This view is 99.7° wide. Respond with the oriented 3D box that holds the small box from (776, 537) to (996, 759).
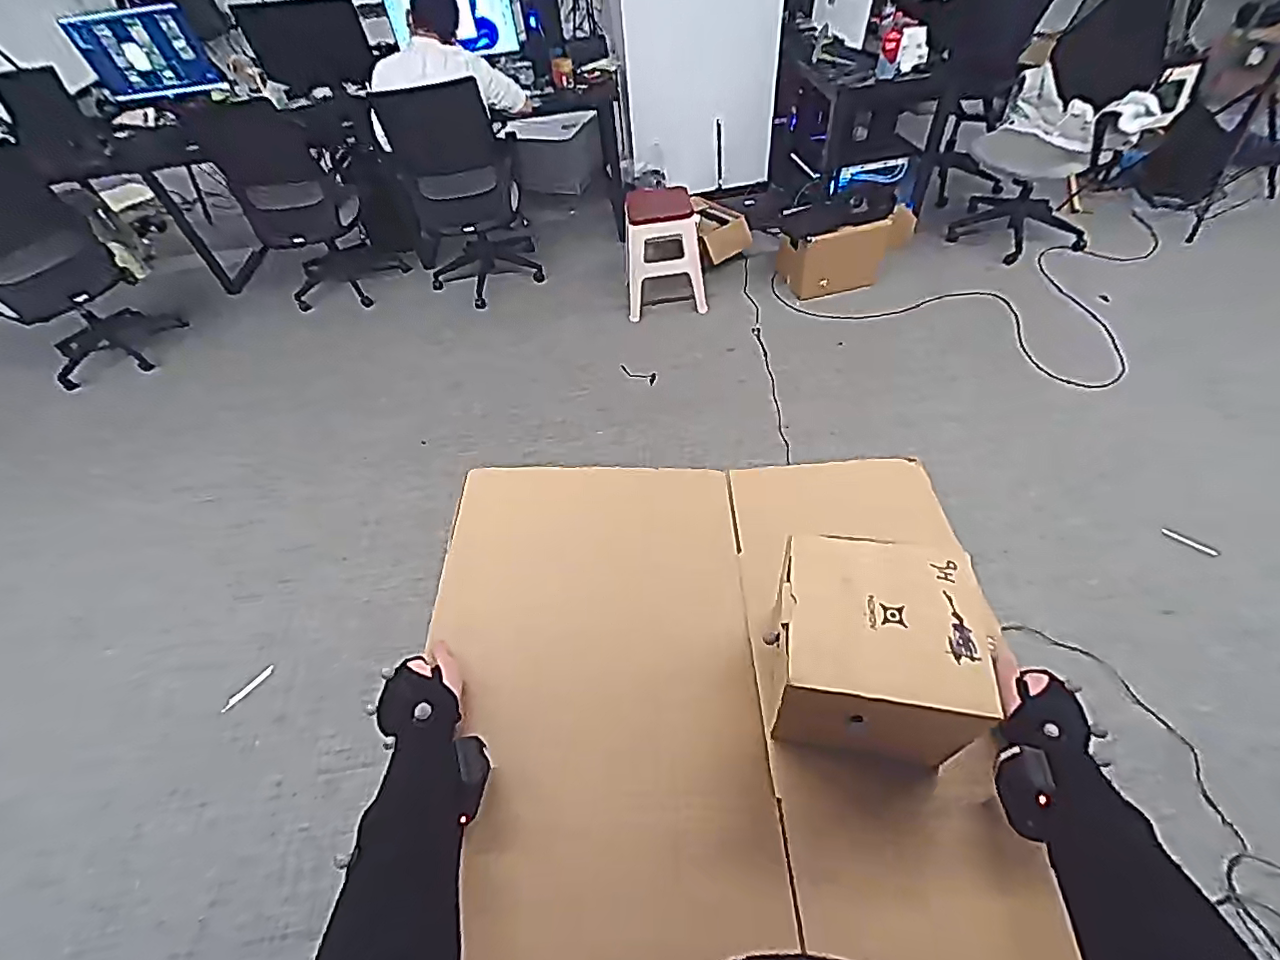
[{"bbox_3d":[0.240,0.181,0.578,0.179,0.176,0.168,4,51,13],"label":"small box"}]
